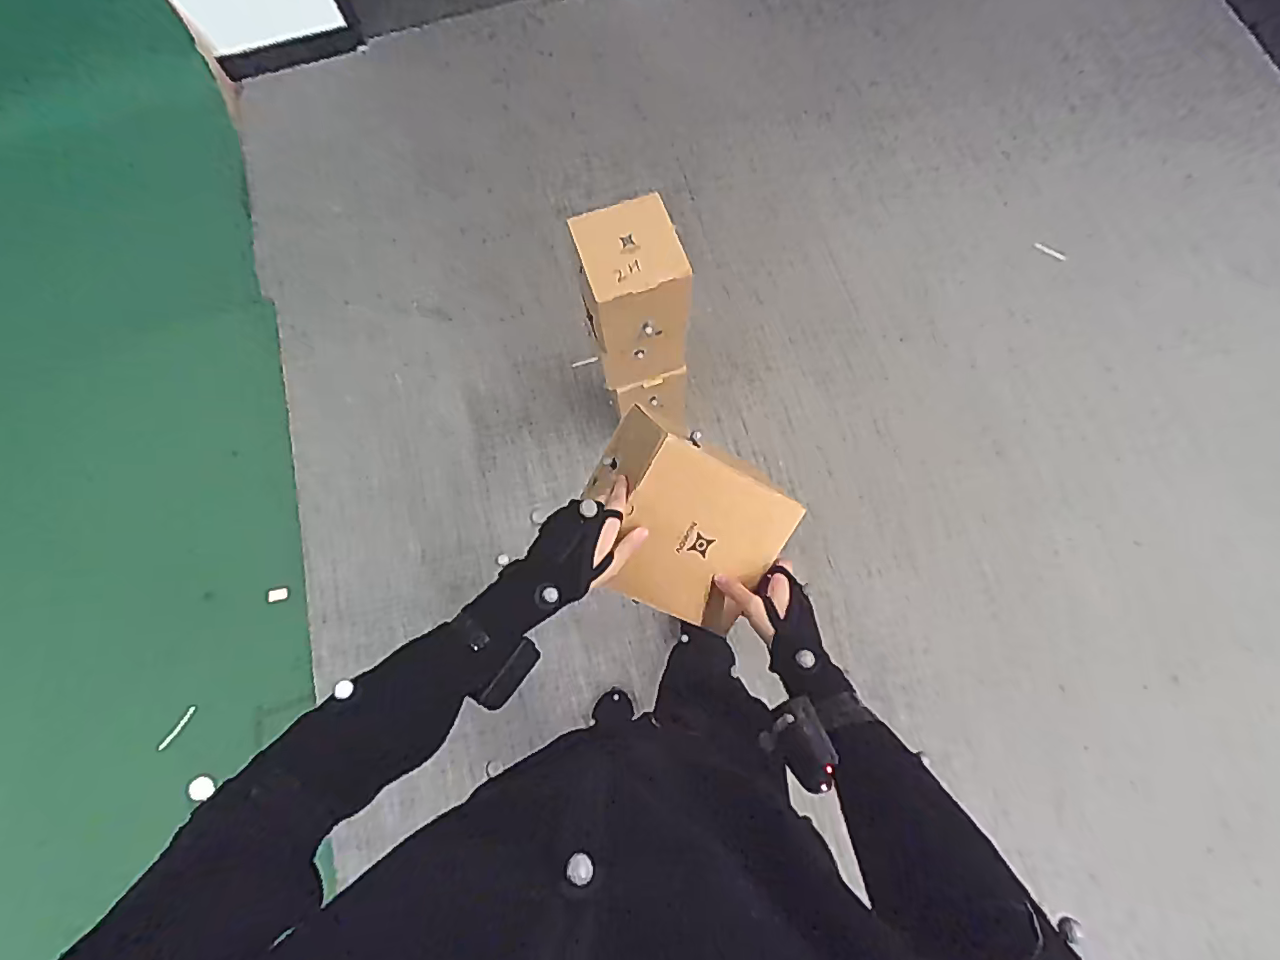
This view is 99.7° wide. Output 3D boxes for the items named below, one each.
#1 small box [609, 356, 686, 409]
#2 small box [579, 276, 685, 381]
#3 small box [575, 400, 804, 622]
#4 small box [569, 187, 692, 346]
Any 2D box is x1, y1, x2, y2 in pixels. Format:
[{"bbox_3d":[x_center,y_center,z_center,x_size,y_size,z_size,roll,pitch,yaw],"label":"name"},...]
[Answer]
[{"bbox_3d":[0.004,-0.280,1.276,0.168,0.176,0.179,-18,75,-3],"label":"small box"},{"bbox_3d":[-0.012,-0.327,1.119,0.179,0.176,0.168,-17,74,-3],"label":"small box"},{"bbox_3d":[0.042,0.025,0.613,0.179,0.176,0.168,26,101,-18],"label":"small box"},{"bbox_3d":[-0.016,-0.371,0.960,0.168,0.176,0.179,-18,75,-2],"label":"small box"}]
